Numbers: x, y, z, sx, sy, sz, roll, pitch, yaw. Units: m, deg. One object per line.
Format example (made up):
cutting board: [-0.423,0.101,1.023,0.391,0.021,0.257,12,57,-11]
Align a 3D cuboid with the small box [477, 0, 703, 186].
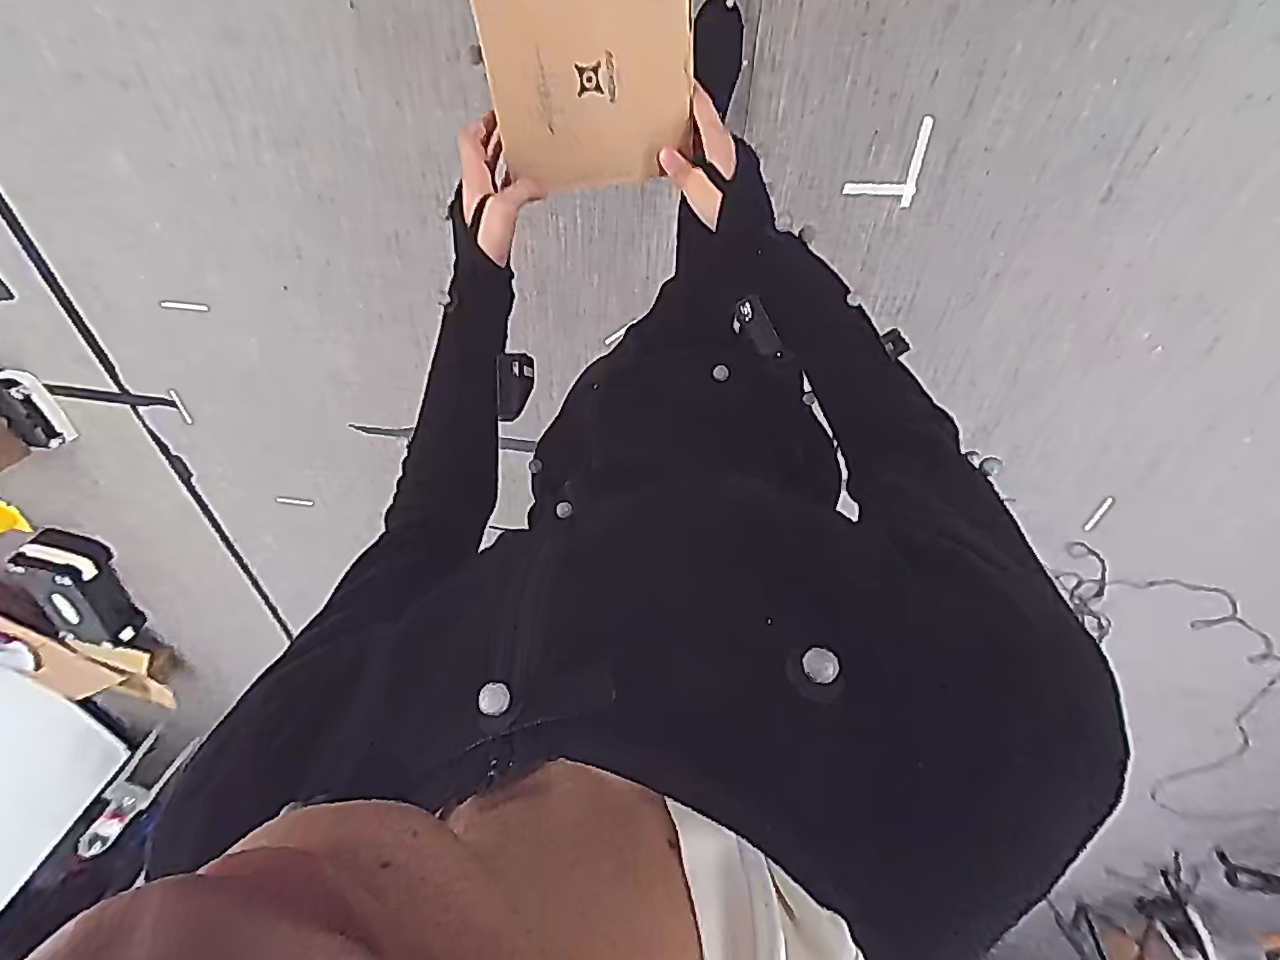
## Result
small box: [-0.050,-0.398,0.506,0.179,0.176,0.168,-12,133,-6]
